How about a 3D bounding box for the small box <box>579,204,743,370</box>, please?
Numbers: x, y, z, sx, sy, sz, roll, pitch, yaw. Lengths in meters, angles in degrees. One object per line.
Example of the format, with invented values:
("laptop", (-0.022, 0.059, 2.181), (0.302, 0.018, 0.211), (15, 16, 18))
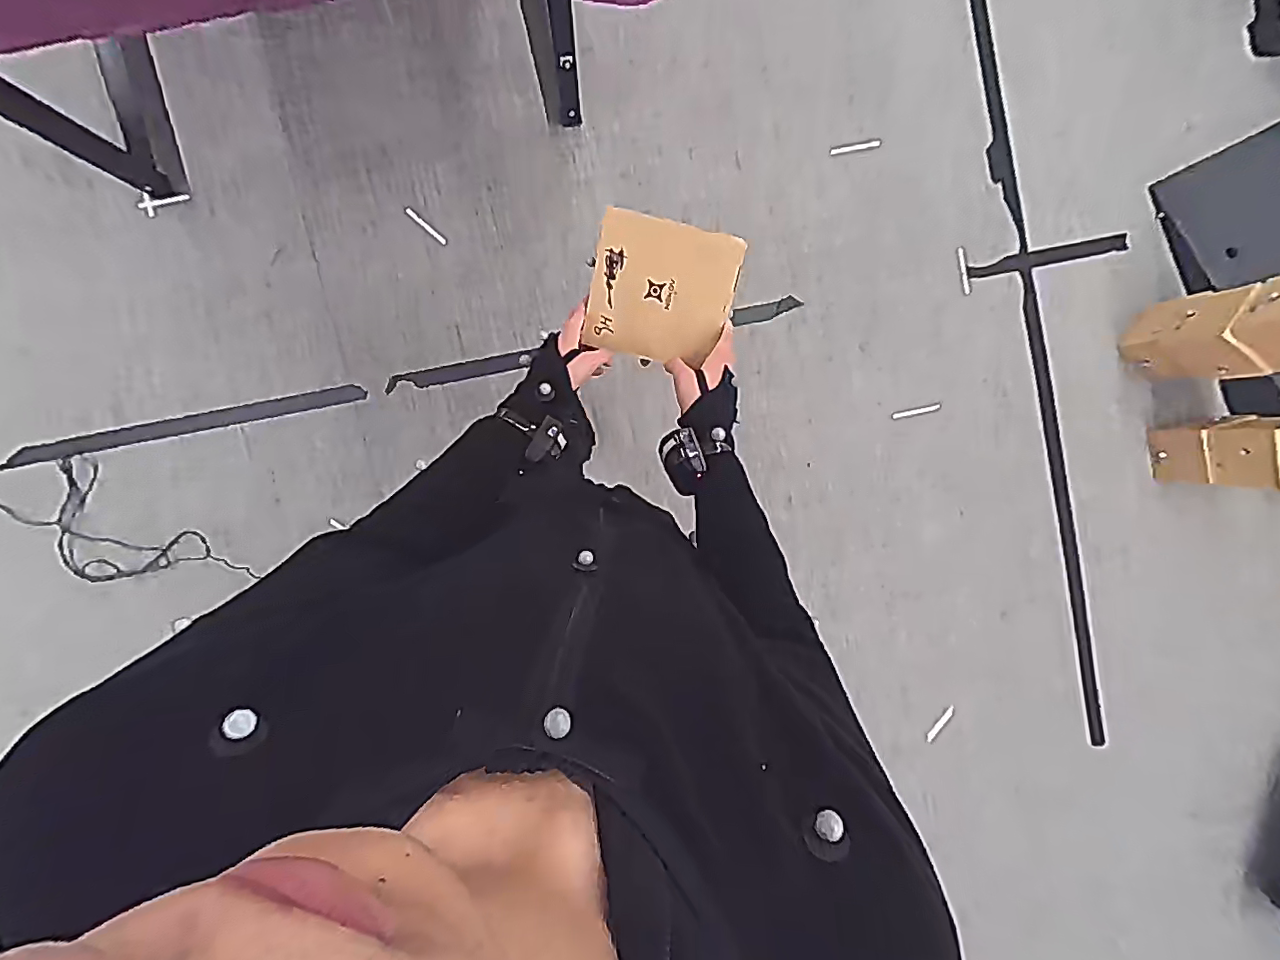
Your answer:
("small box", (0.024, -0.262, 0.753), (0.179, 0.176, 0.168), (13, 107, -3))
